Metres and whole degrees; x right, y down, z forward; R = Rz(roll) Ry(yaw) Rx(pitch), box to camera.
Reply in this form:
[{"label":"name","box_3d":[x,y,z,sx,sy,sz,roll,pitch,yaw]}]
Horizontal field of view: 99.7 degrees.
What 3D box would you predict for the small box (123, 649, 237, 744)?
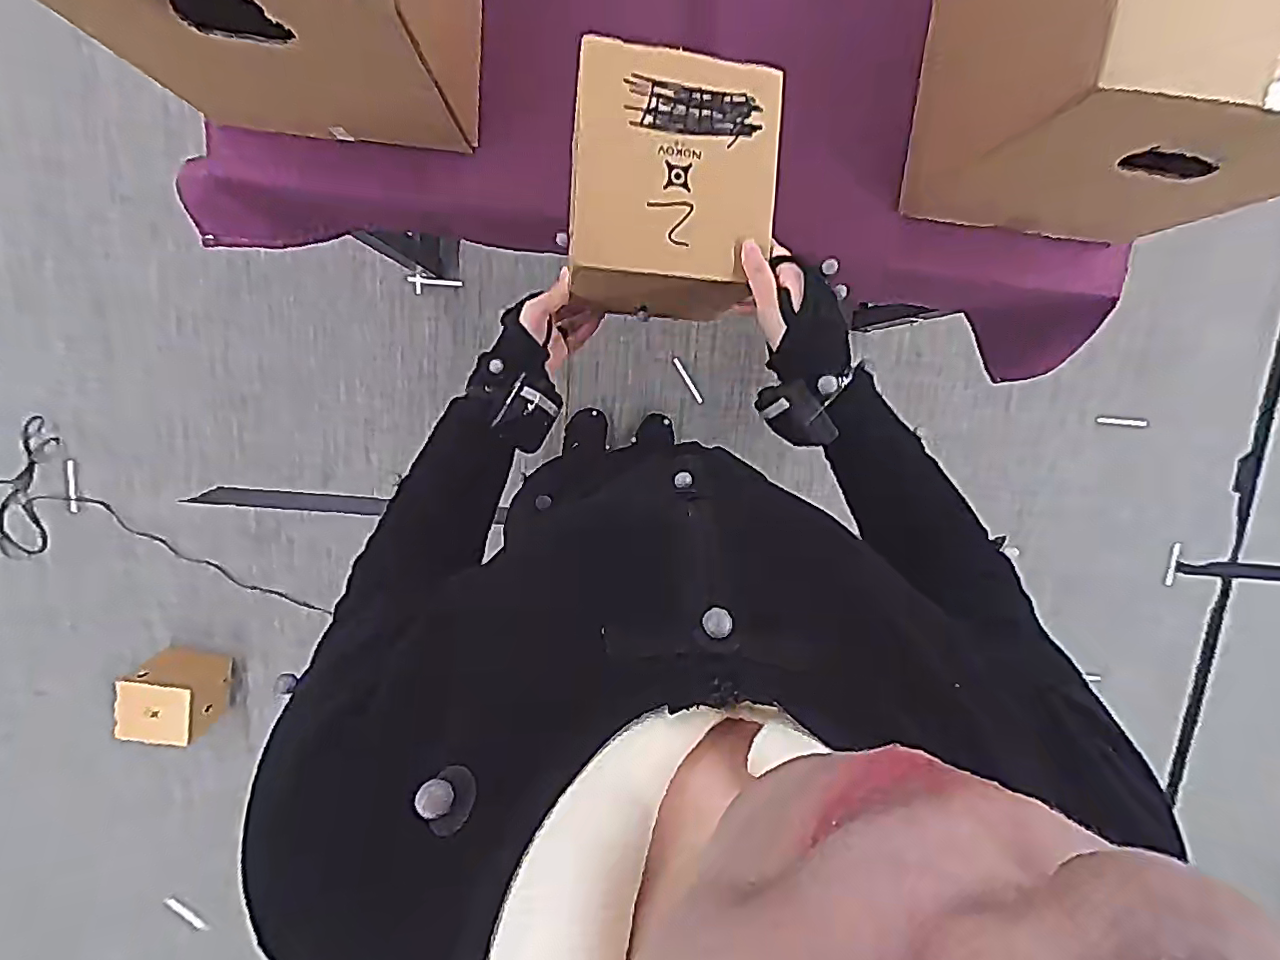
[{"label":"small box","box_3d":[-1.220,0.572,1.445,0.179,0.176,0.168,10,100,-5]}]
